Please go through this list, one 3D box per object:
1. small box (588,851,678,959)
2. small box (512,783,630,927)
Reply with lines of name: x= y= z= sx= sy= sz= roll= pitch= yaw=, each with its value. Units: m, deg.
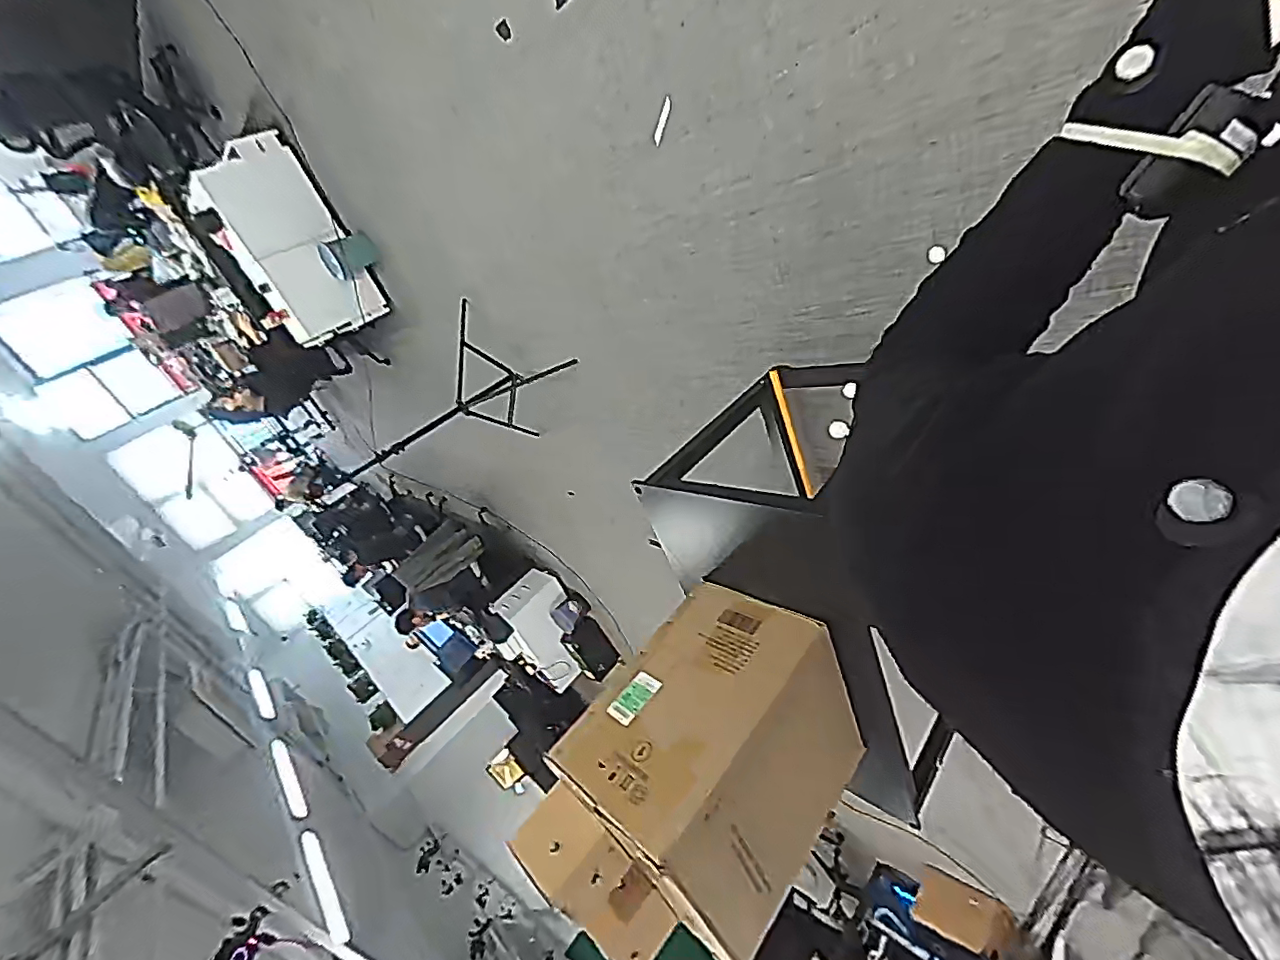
small box: x=-0.033 y=1.048 z=1.319 sx=0.168 sy=0.176 sz=0.179 roll=11 pitch=132 yaw=49
small box: x=-0.144 y=0.821 z=1.199 sx=0.179 sy=0.176 sz=0.168 roll=15 pitch=137 yaw=47
